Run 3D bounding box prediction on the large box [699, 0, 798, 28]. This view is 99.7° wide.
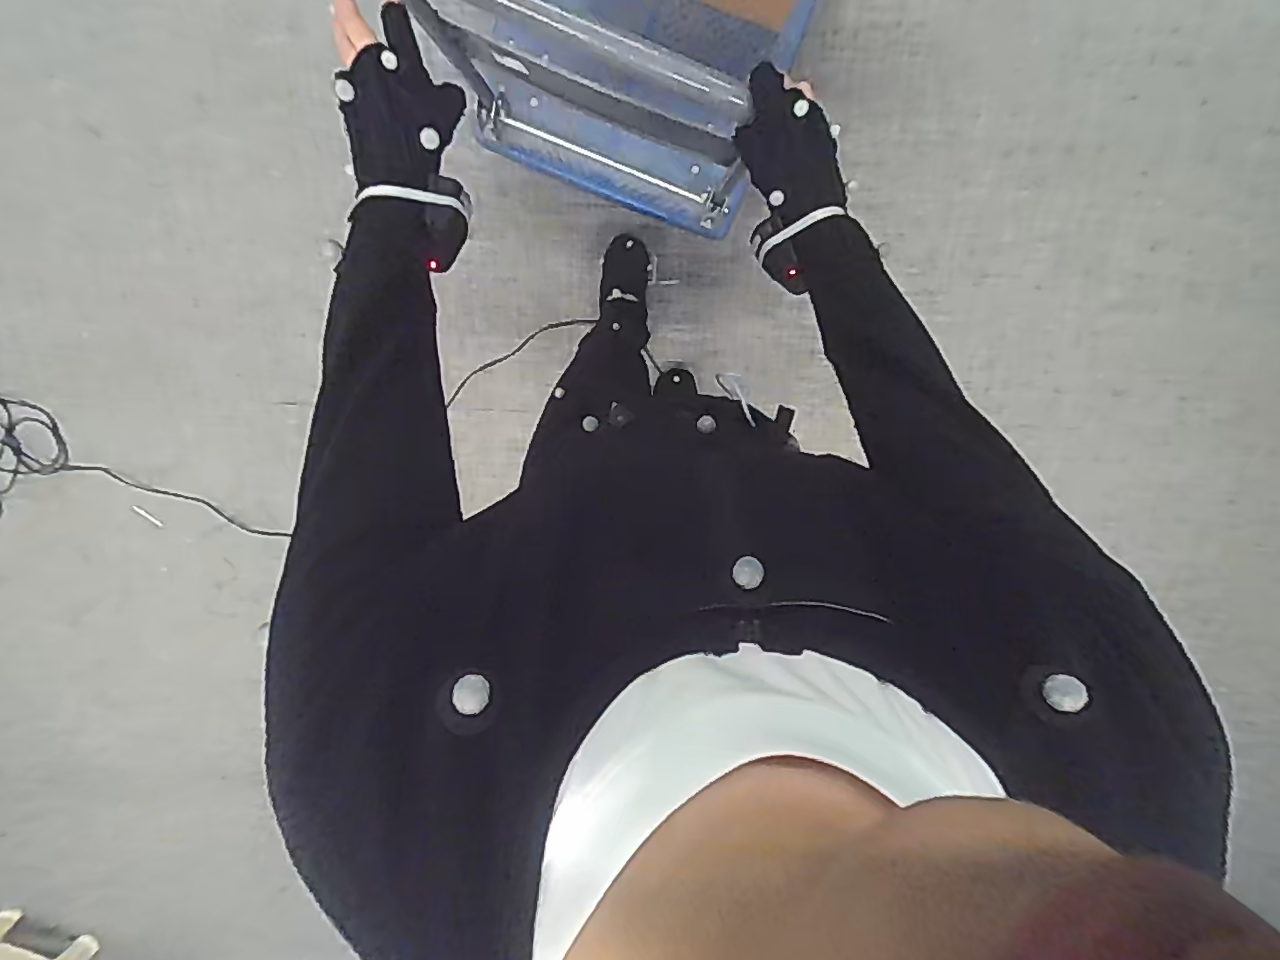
[{"bbox_3d":[0.134,-1.037,0.868,0.408,0.320,0.320,18,104,-4],"label":"large box"}]
